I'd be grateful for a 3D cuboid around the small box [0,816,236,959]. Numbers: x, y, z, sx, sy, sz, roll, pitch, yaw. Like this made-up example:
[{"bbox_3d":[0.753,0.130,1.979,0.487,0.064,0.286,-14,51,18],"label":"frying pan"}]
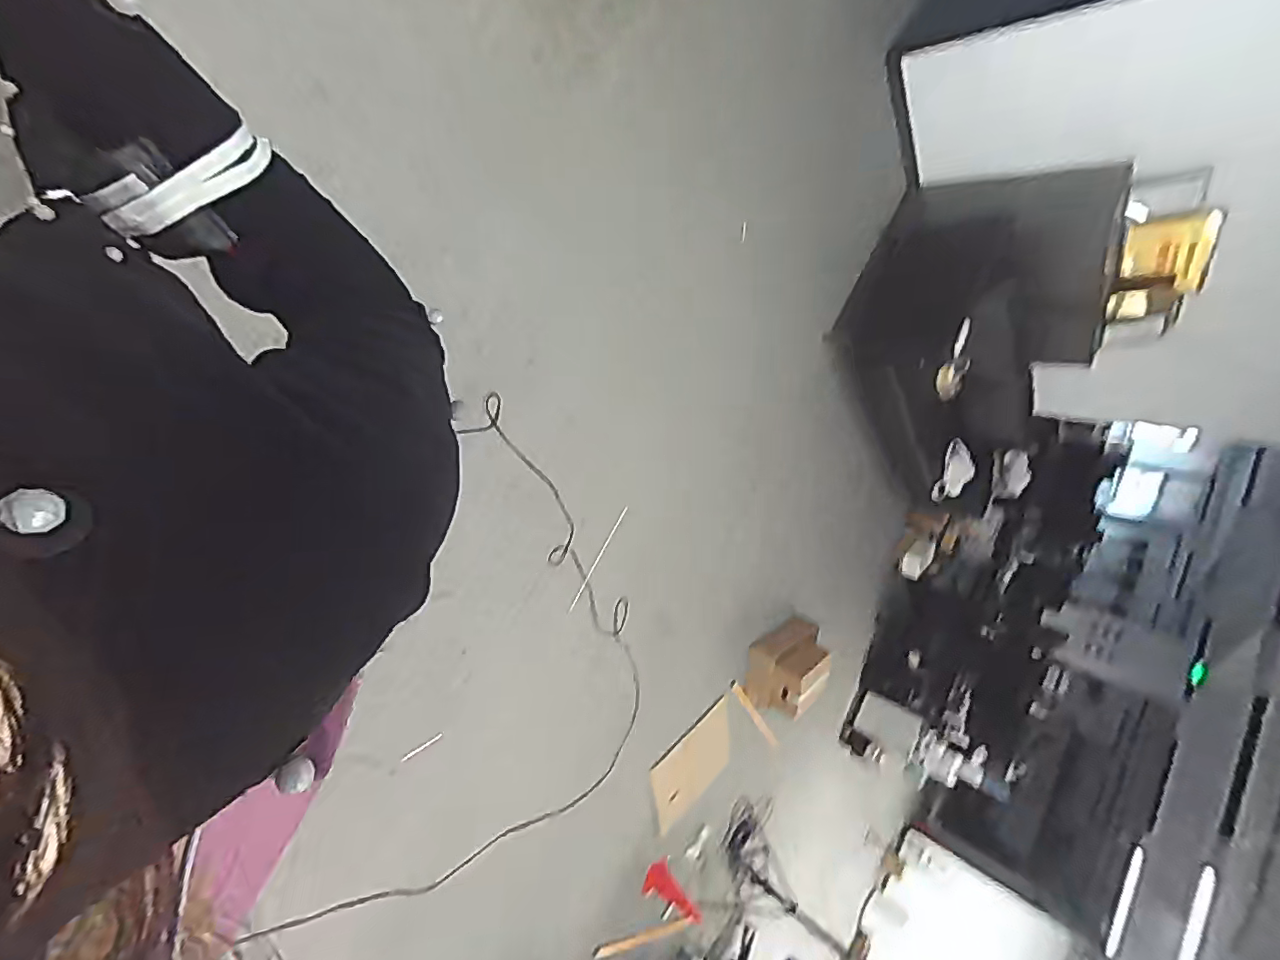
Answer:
[{"bbox_3d":[-0.612,0.511,0.610,0.179,0.176,0.168,42,73,-46],"label":"small box"}]
